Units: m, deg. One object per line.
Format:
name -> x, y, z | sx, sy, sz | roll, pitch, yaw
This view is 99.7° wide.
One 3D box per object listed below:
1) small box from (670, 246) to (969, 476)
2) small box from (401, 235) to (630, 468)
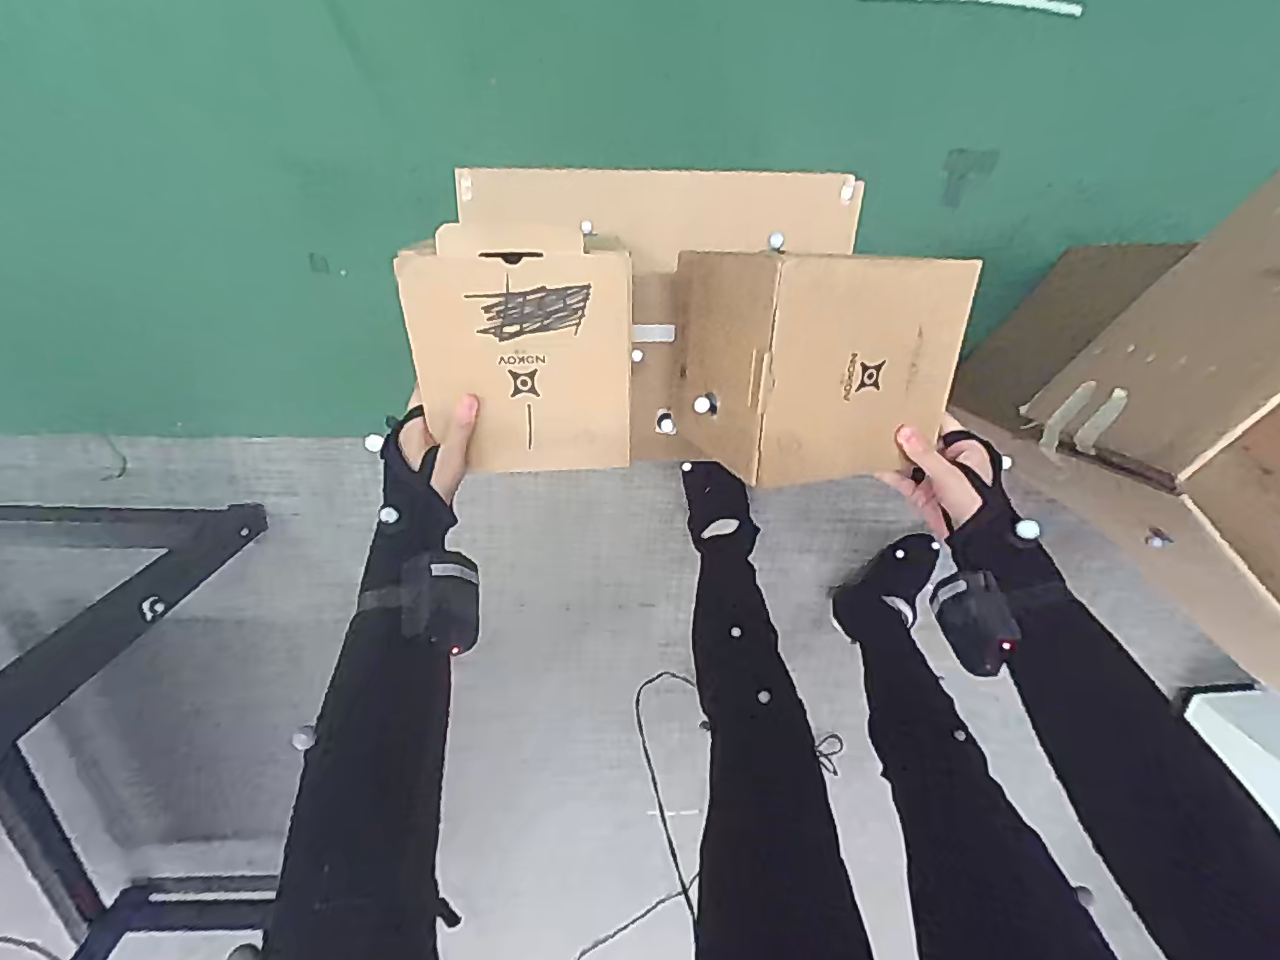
small box -> 0.137, -0.113, 0.479 | 0.179, 0.176, 0.168 | -5, 114, -18
small box -> -0.098, -0.126, 0.496 | 0.168, 0.176, 0.179 | -2, 118, -4
